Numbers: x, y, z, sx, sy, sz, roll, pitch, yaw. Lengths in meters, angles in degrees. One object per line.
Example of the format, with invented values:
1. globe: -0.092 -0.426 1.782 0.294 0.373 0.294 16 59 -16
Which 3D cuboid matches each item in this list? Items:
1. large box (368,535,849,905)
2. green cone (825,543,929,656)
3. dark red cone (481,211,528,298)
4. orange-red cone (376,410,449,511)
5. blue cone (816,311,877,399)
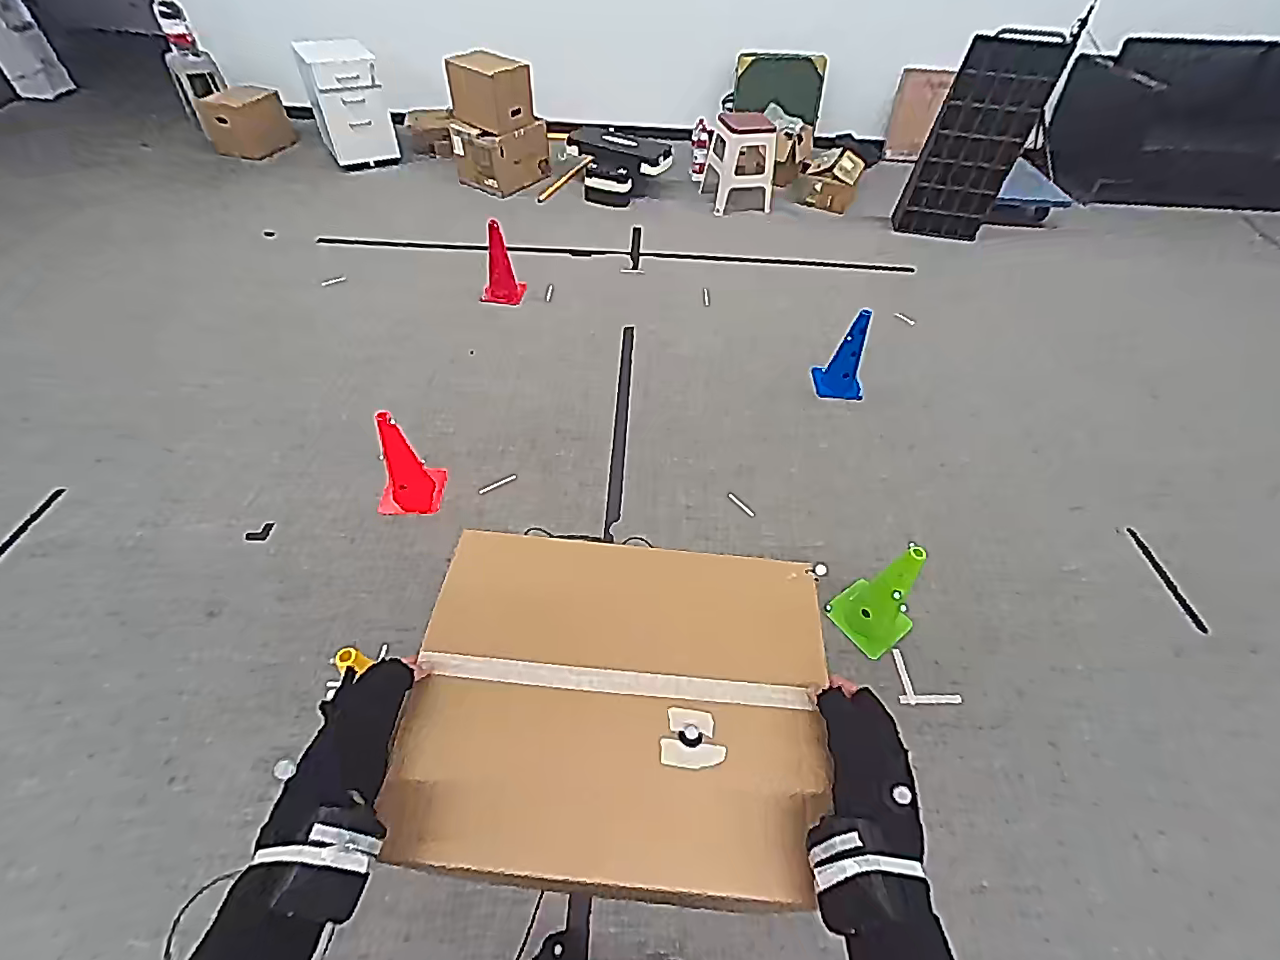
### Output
1. large box: -0.025 0.292 0.646 0.408 0.320 0.320 6 51 1
2. green cone: 0.701 0.297 1.501 0.202 0.368 0.200 -27 56 -26
3. dark red cone: -0.661 -1.074 2.573 0.201 0.394 0.202 8 49 2
4. orange-red cone: -0.770 -0.081 1.741 0.198 0.360 0.199 0 51 -2
5. blue cone: 0.885 -0.532 2.251 0.192 0.380 0.193 6 49 0
